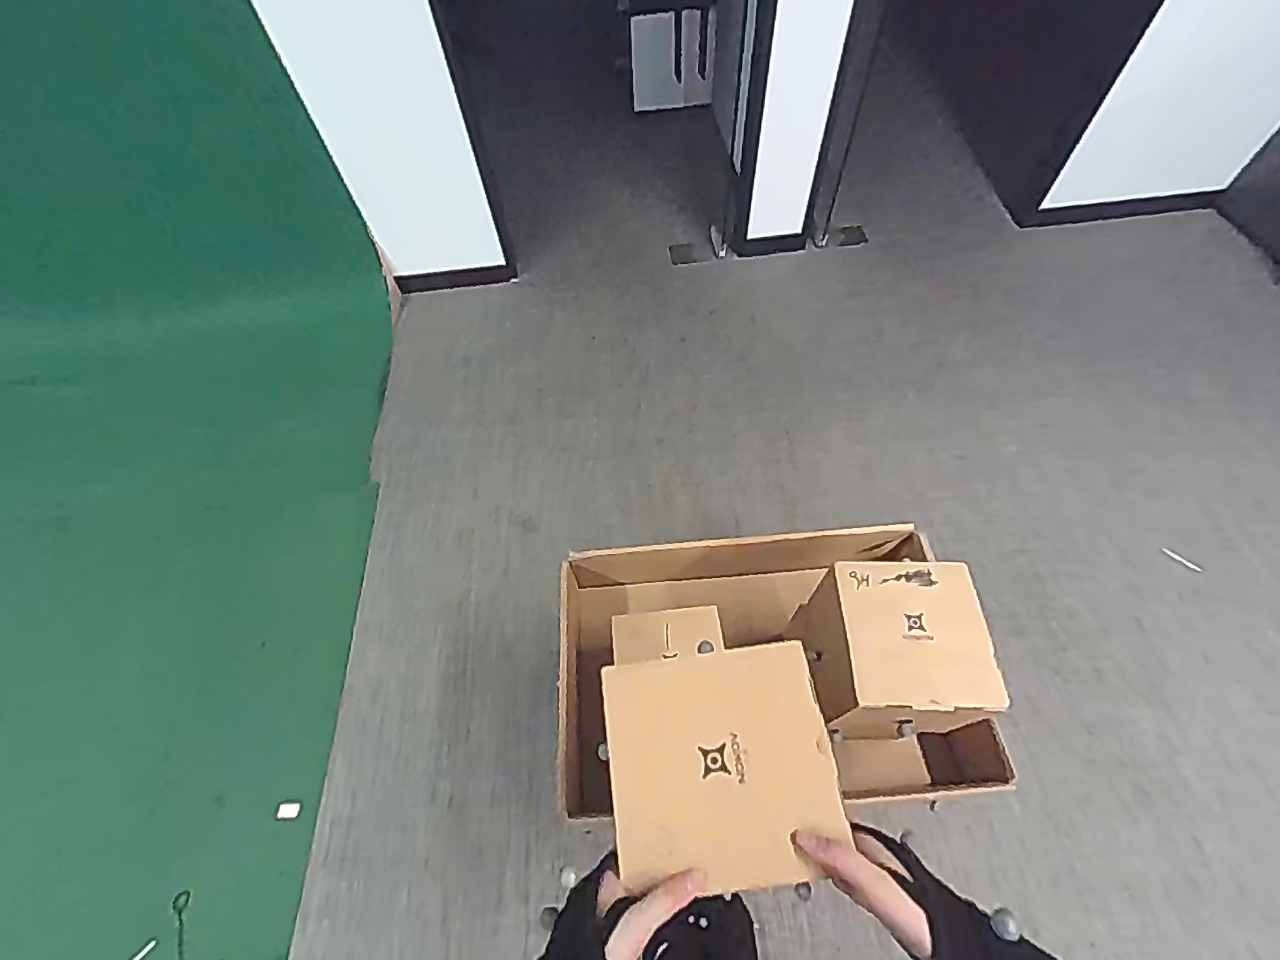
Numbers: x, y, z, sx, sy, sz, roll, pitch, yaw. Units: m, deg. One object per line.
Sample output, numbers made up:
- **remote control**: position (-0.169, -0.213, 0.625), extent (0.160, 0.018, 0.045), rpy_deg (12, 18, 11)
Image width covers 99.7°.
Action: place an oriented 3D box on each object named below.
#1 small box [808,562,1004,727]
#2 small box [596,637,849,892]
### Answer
- **small box**: position (0.325, 0.219, 0.703), extent (0.168, 0.176, 0.179), rpy_deg (0, 59, 4)
- **small box**: position (0.062, 0.256, 0.496), extent (0.179, 0.176, 0.168), rpy_deg (-8, 60, -1)
